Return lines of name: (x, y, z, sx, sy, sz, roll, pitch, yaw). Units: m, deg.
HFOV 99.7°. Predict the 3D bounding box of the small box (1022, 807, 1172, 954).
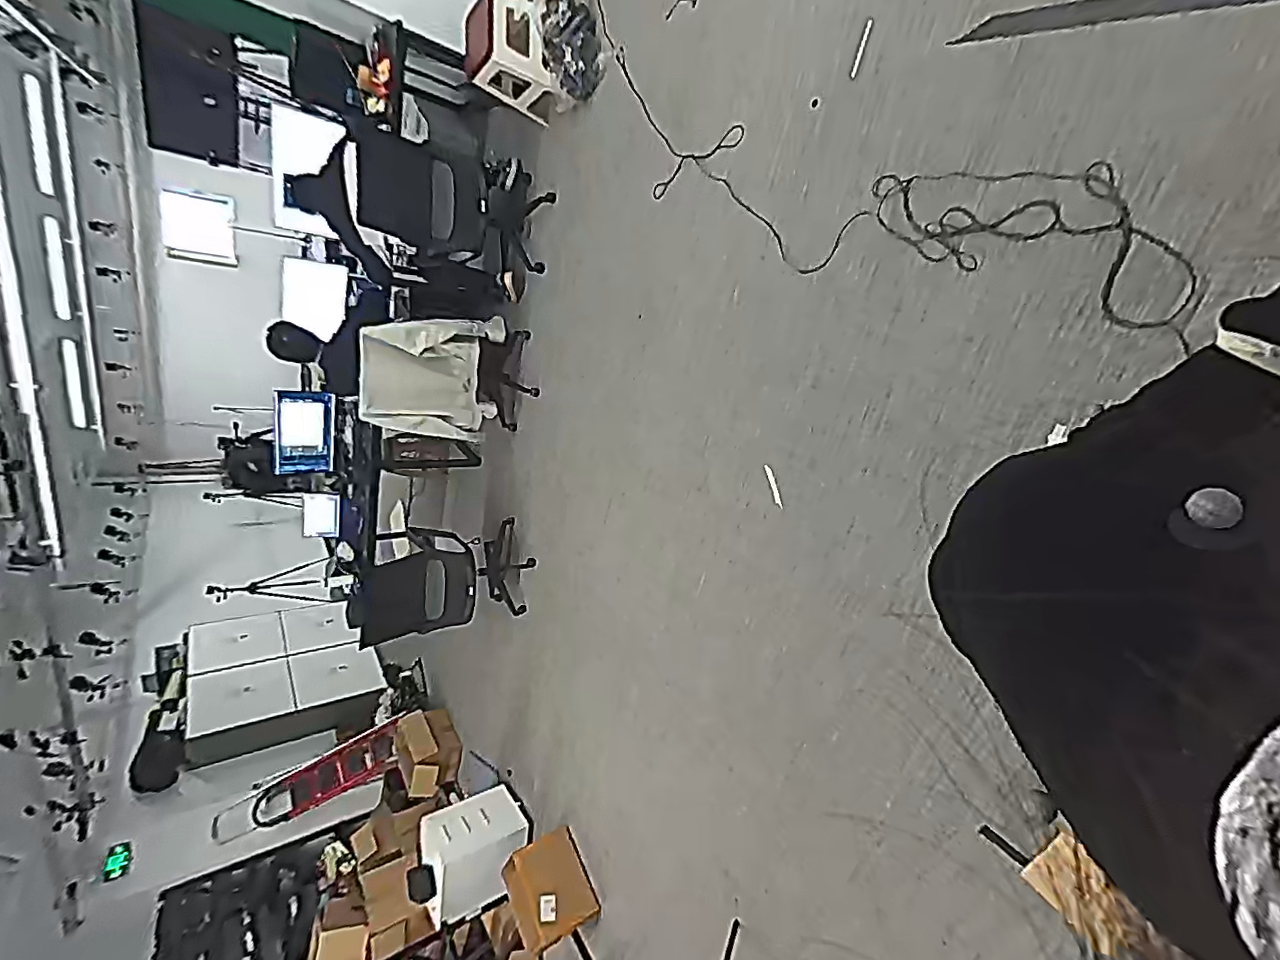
small box: (0.986, 0.848, 1.169, 0.179, 0.176, 0.168, 42, 124, 41)
